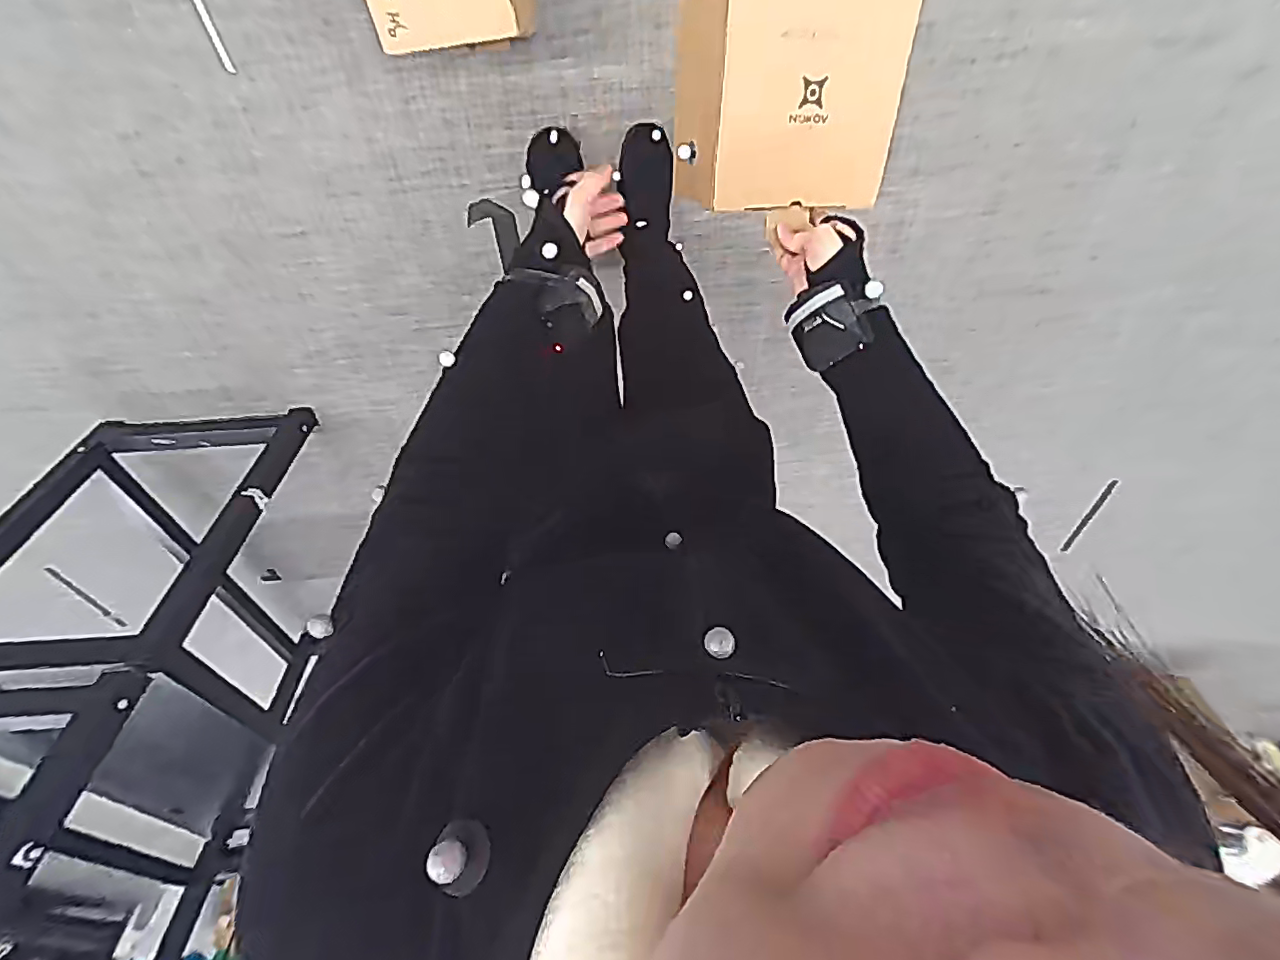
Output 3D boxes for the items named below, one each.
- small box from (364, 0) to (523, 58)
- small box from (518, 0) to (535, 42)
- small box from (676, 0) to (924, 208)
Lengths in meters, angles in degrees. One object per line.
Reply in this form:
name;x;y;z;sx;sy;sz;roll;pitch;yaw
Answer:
small box;-0.249;-0.652;0.677;0.179;0.176;0.168;-7;134;1
small box;-0.253;-0.766;0.796;0.168;0.176;0.179;-3;134;-2
small box;0.134;-0.374;0.525;0.168;0.176;0.179;-5;124;-9
